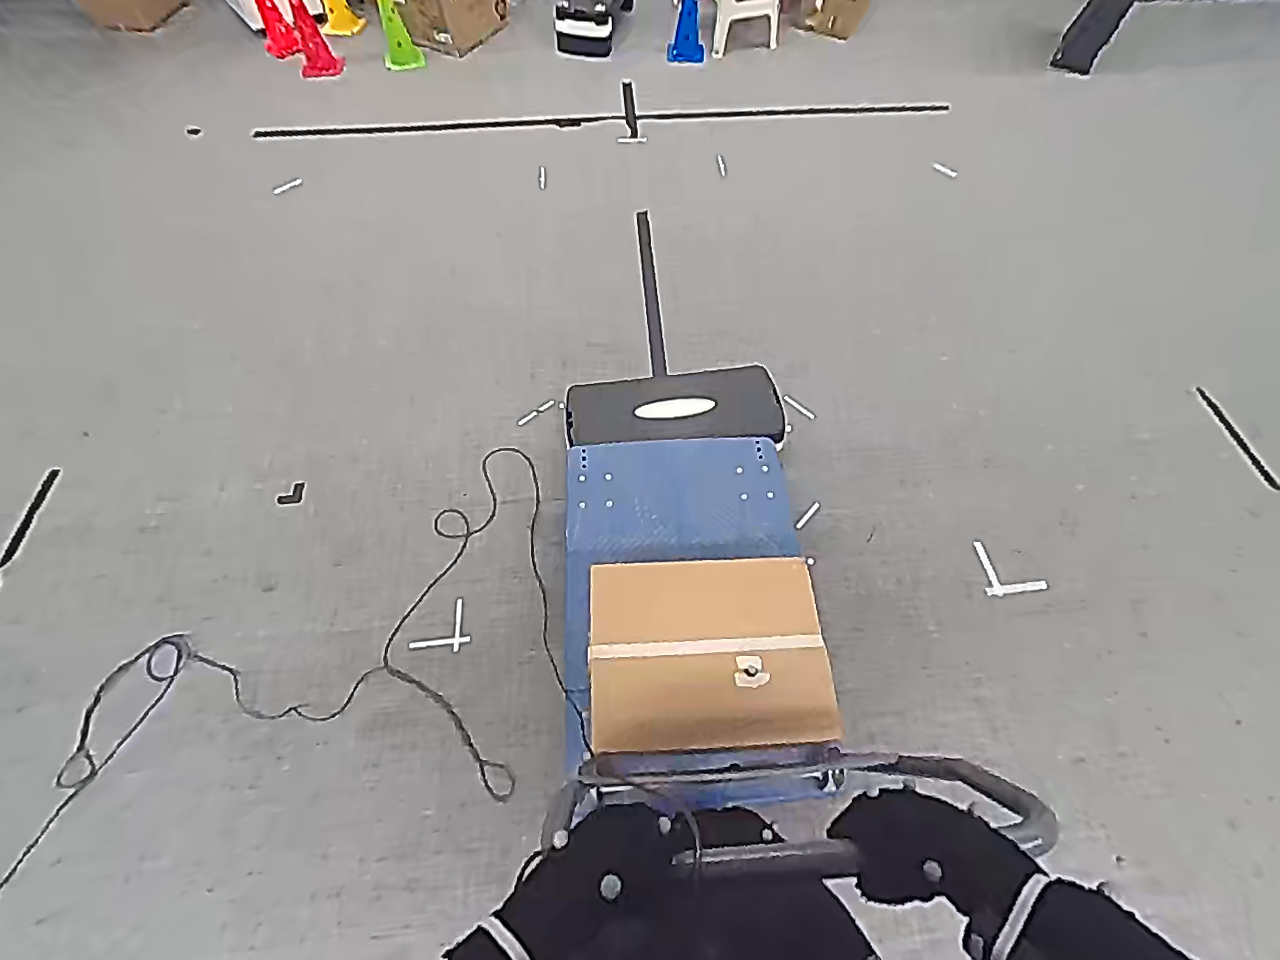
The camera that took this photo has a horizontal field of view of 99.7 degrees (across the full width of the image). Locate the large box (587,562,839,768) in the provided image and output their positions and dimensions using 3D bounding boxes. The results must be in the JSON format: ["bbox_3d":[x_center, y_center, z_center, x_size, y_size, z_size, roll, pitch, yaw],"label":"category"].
[{"bbox_3d":[0.108,0.369,1.053,0.408,0.320,0.320,-2,62,-3],"label":"large box"}]
